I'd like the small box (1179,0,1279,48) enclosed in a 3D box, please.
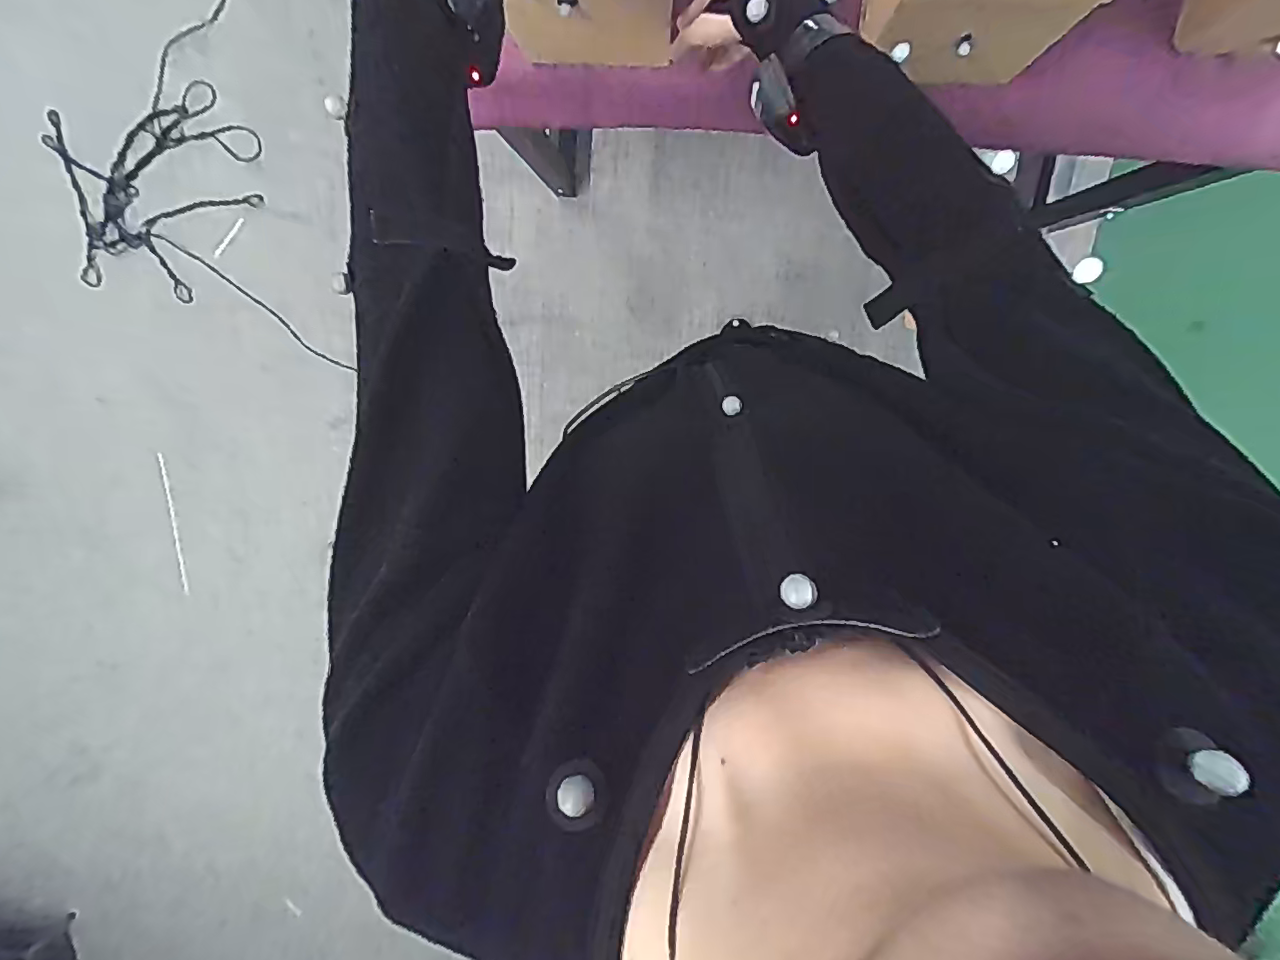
[{"bbox_3d":[0.667,-0.528,0.486,0.179,0.176,0.168,5,102,6],"label":"small box"}]

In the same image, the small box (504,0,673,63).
[{"bbox_3d":[-0.054,-0.564,0.555,0.179,0.176,0.168,4,103,4],"label":"small box"}]
